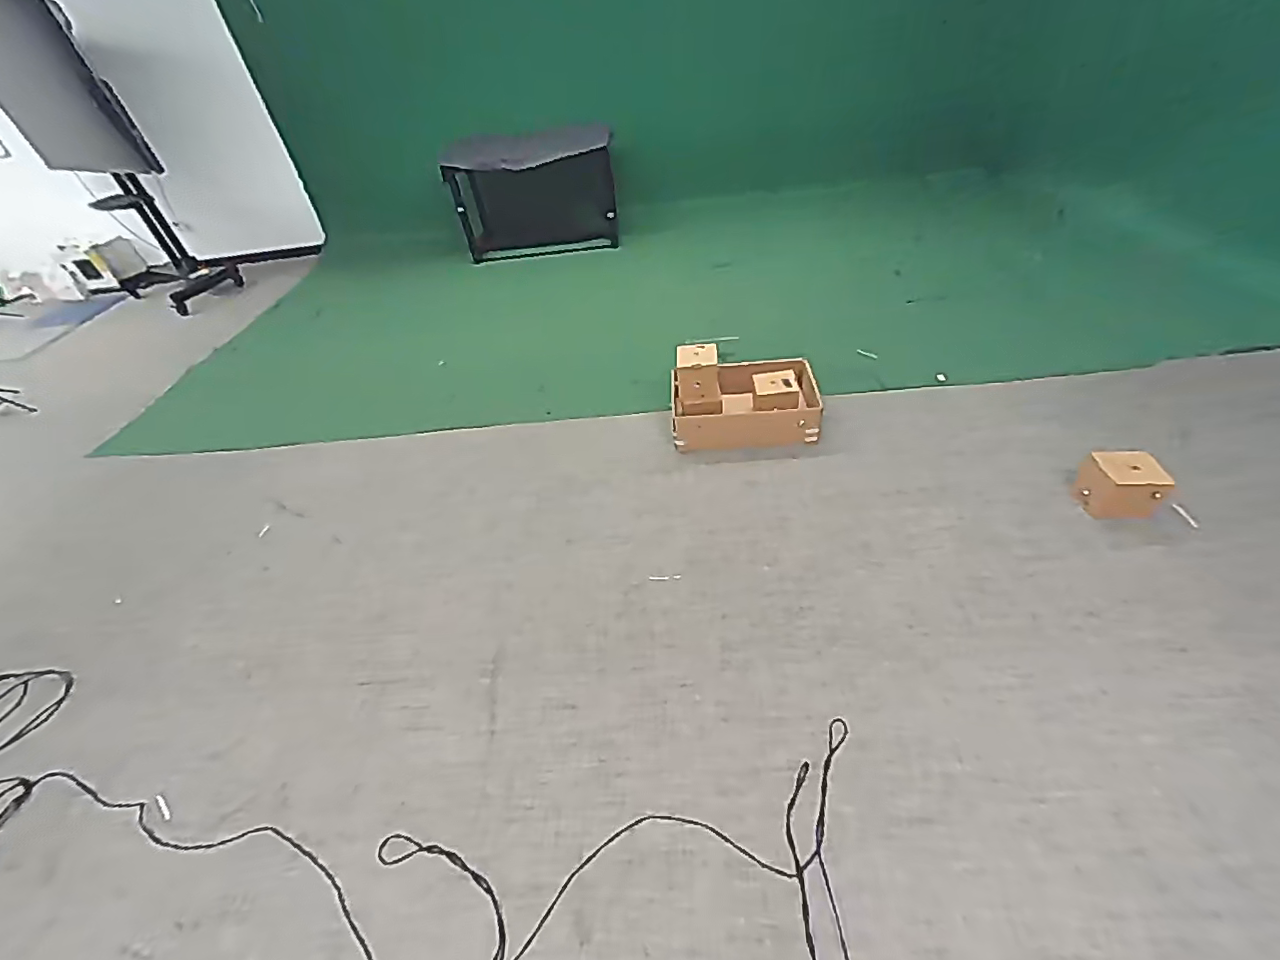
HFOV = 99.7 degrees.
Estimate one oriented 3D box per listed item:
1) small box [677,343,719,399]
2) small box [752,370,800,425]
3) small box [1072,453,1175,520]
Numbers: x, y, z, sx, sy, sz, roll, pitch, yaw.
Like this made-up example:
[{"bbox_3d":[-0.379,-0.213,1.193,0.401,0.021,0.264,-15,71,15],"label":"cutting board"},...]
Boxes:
[{"bbox_3d":[0.243,-0.453,2.265,0.168,0.176,0.179,-2,44,7],"label":"small box"},{"bbox_3d":[0.584,-0.354,2.345,0.179,0.176,0.168,-4,43,6],"label":"small box"},{"bbox_3d":[1.631,0.025,1.836,0.179,0.176,0.168,-1,42,9],"label":"small box"}]
